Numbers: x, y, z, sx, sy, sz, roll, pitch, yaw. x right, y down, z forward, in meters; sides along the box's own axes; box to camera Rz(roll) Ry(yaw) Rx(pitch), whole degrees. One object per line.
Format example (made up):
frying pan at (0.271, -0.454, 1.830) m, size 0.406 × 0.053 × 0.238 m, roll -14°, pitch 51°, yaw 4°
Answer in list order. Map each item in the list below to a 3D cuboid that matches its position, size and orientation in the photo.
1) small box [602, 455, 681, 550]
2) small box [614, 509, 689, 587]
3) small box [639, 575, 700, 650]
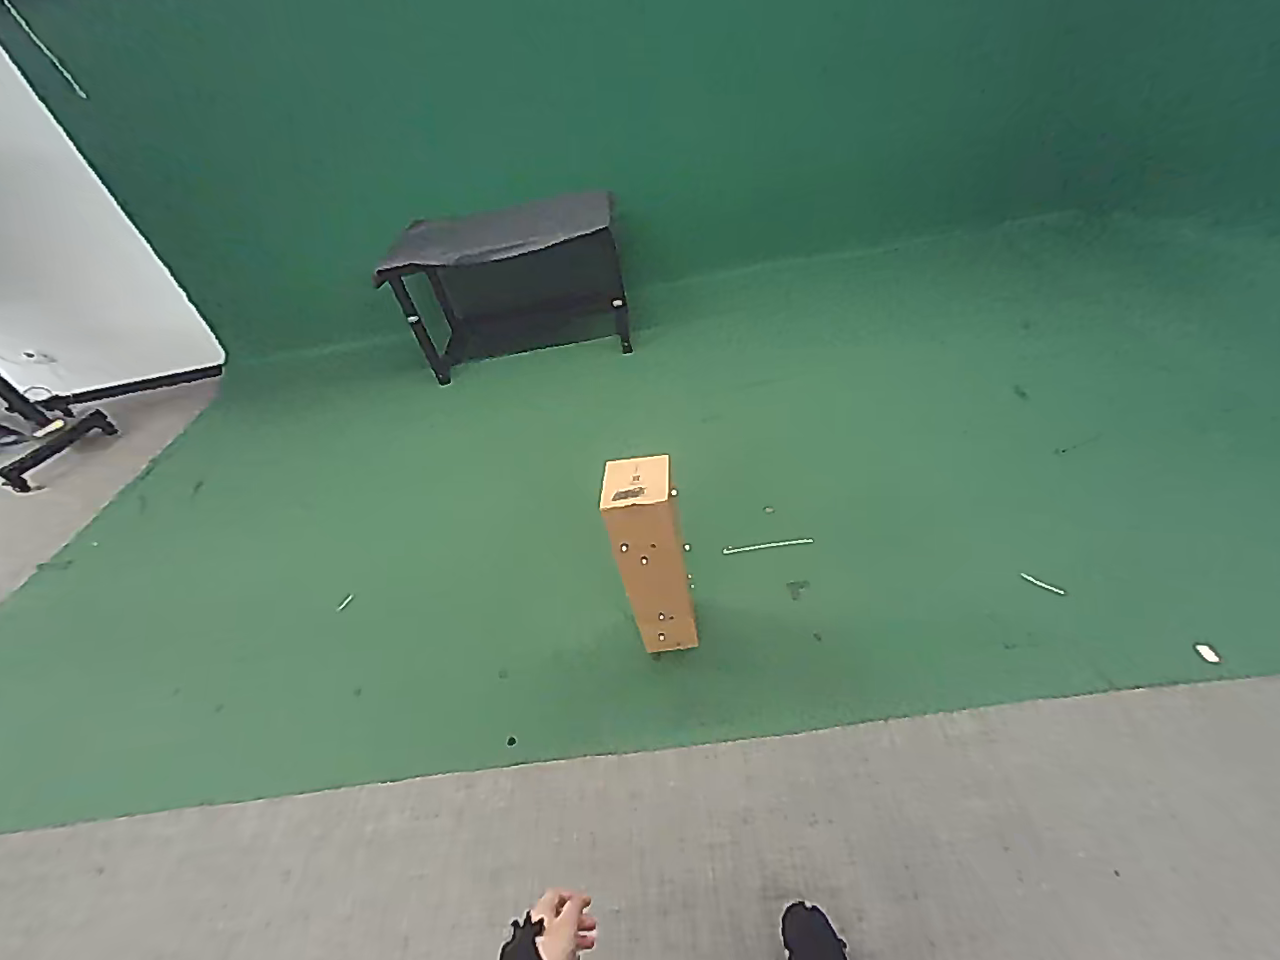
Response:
small box at (0.011, 0.063, 1.360) m, size 0.168 × 0.176 × 0.179 m, roll -6°, pitch 41°, yaw 10°
small box at (0.036, 0.178, 1.476) m, size 0.179 × 0.176 × 0.168 m, roll -7°, pitch 42°, yaw 8°
small box at (0.092, 0.416, 1.695) m, size 0.168 × 0.176 × 0.179 m, roll -9°, pitch 40°, yaw 6°
